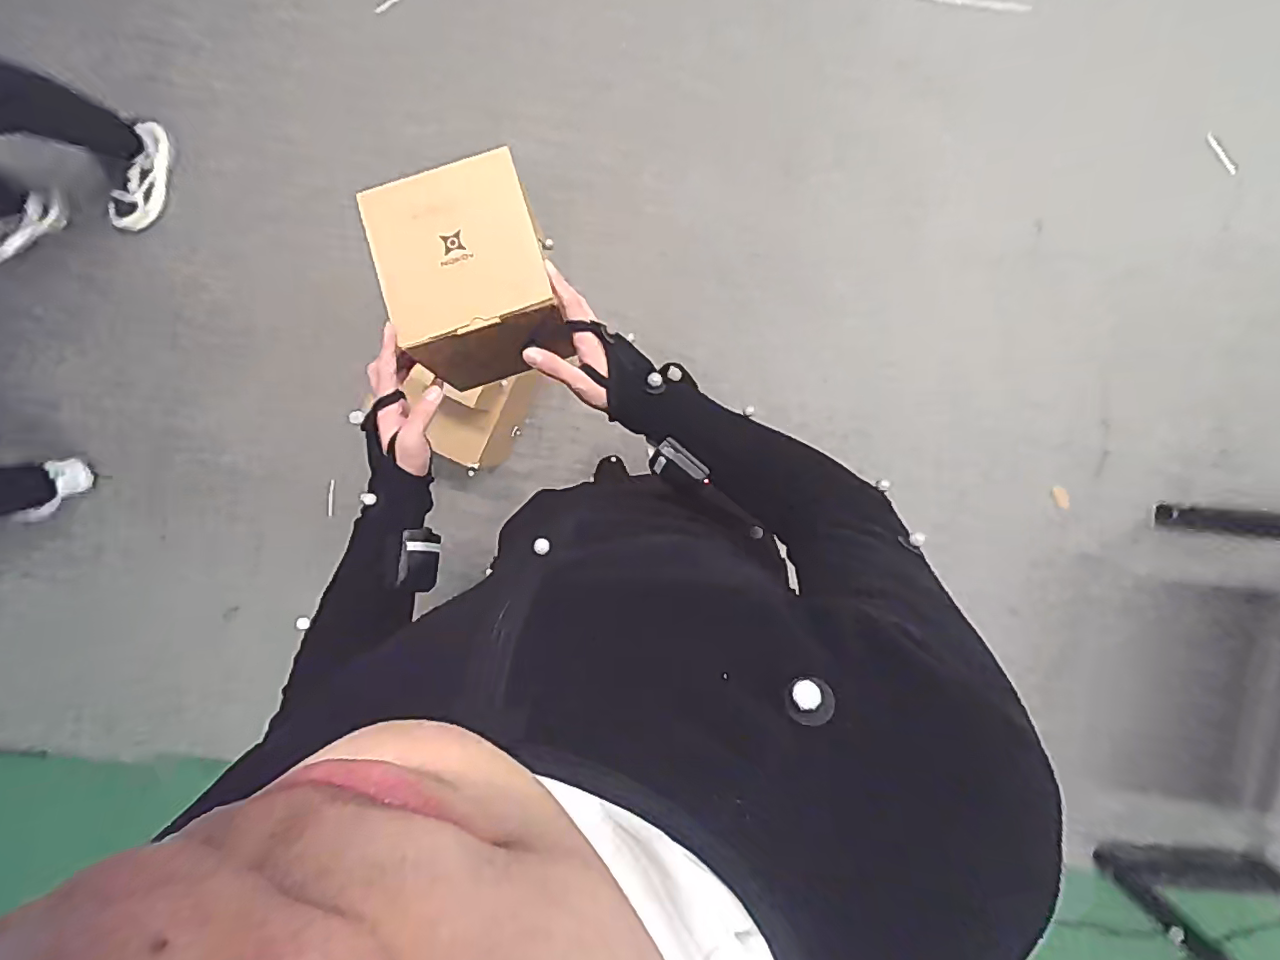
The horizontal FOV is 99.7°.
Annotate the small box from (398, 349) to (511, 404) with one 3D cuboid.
[{"bbox_3d":[-0.396,-0.276,1.207,0.179,0.176,0.168,27,95,-5],"label":"small box"}]

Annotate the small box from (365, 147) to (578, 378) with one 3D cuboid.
[{"bbox_3d":[-0.178,-0.230,0.624,0.168,0.176,0.179,-16,84,1],"label":"small box"}]

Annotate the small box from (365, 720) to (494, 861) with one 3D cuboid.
[{"bbox_3d":[-0.428,0.630,1.127,0.168,0.176,0.179,-22,95,2],"label":"small box"}]
